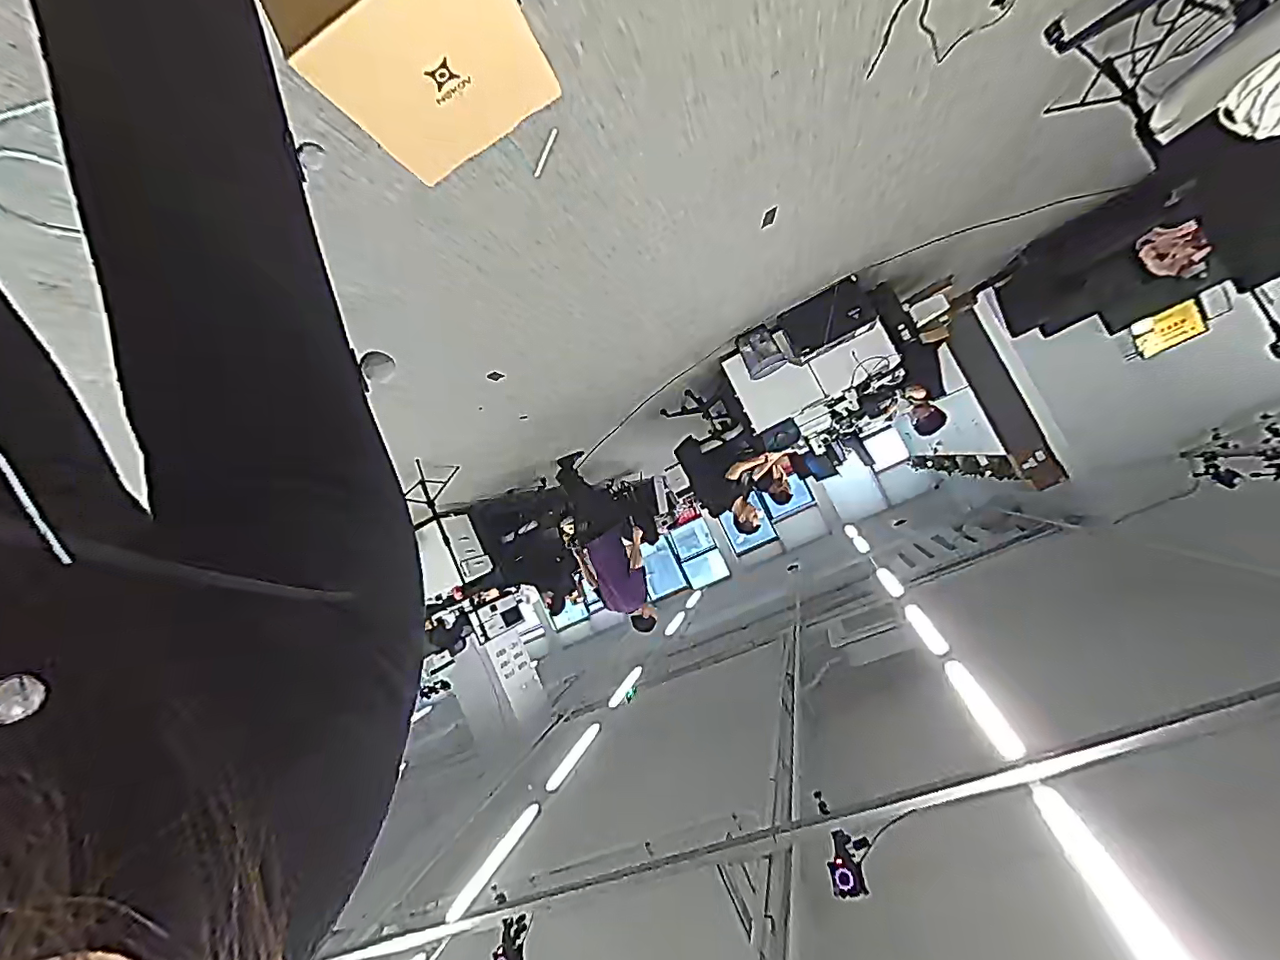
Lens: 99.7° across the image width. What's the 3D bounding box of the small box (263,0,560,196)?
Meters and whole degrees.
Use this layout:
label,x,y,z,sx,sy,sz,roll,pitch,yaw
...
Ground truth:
label,x,y,z,sx,sy,sz,roll,pitch,yaw
small box,-0.202,-0.401,0.468,0.168,0.176,0.179,-28,175,12
